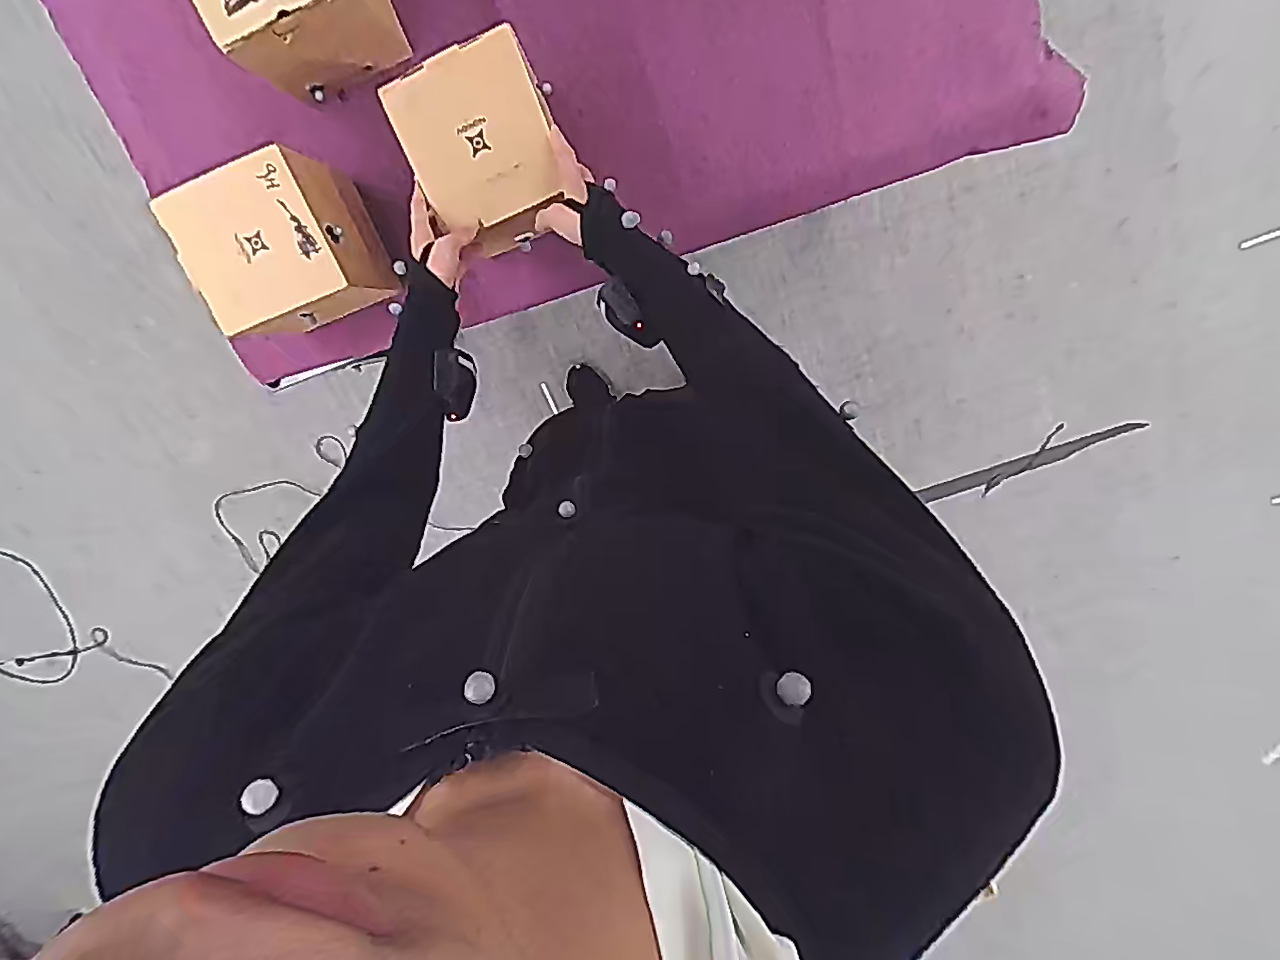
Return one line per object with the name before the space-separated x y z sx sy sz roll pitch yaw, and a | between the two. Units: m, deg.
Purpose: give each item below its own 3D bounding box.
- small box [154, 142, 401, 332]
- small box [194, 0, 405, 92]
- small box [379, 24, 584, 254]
small box | -0.460 -0.306 0.718 0.179 0.176 0.168 -19 107 6
small box | -0.411 -0.595 0.632 0.168 0.176 0.179 -20 106 6
small box | -0.184 -0.410 0.687 0.168 0.176 0.179 -21 106 8
